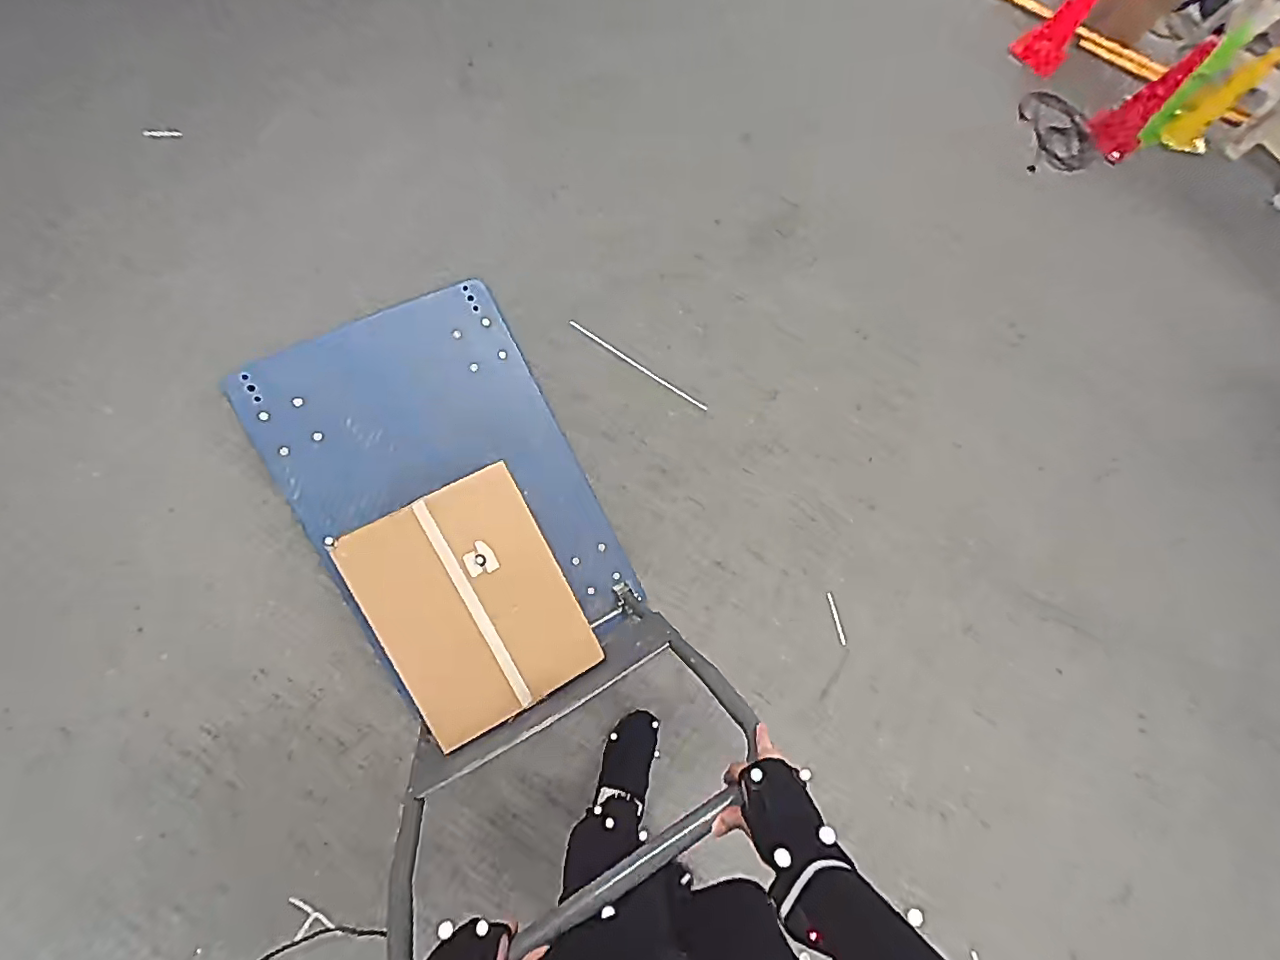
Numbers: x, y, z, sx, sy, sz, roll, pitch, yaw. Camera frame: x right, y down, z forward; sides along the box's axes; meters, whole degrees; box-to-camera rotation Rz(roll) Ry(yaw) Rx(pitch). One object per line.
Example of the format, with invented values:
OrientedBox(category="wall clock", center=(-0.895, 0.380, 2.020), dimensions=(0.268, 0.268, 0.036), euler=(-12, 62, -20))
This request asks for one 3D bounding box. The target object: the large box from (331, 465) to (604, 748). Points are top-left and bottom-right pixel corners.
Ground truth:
OrientedBox(category="large box", center=(-0.317, 0.218, 1.074), dimensions=(0.320, 0.320, 0.408), euler=(-29, 96, -14))
